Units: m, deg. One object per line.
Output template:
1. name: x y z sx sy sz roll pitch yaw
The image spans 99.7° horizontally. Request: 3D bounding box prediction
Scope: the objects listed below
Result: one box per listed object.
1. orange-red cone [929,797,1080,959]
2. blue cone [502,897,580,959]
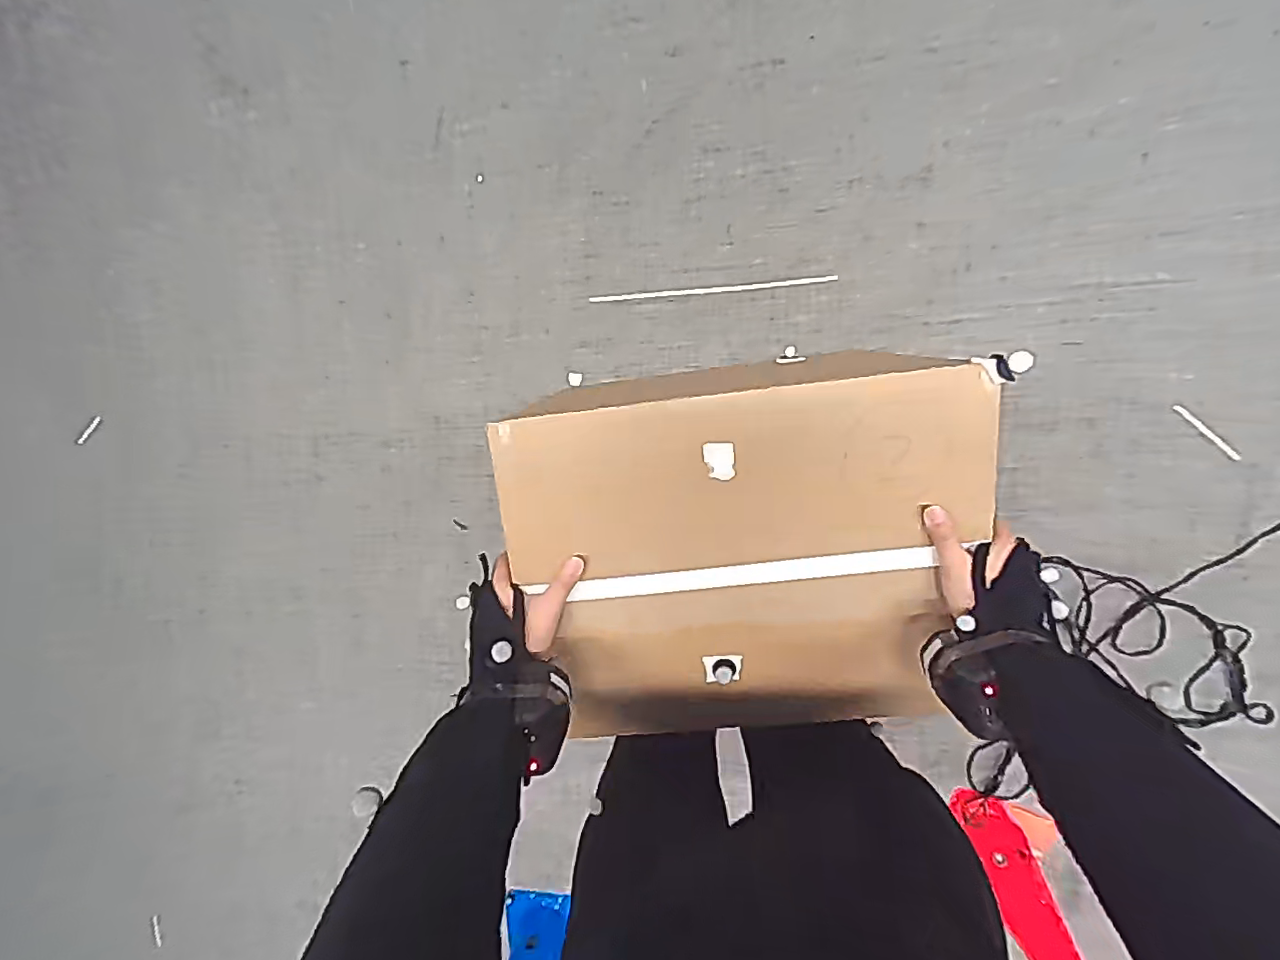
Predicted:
1. orange-red cone: 0.672 0.759 0.903 0.199 0.360 0.198 19 101 6
2. blue cone: -0.267 1.110 1.133 0.192 0.380 0.193 -1 96 11
